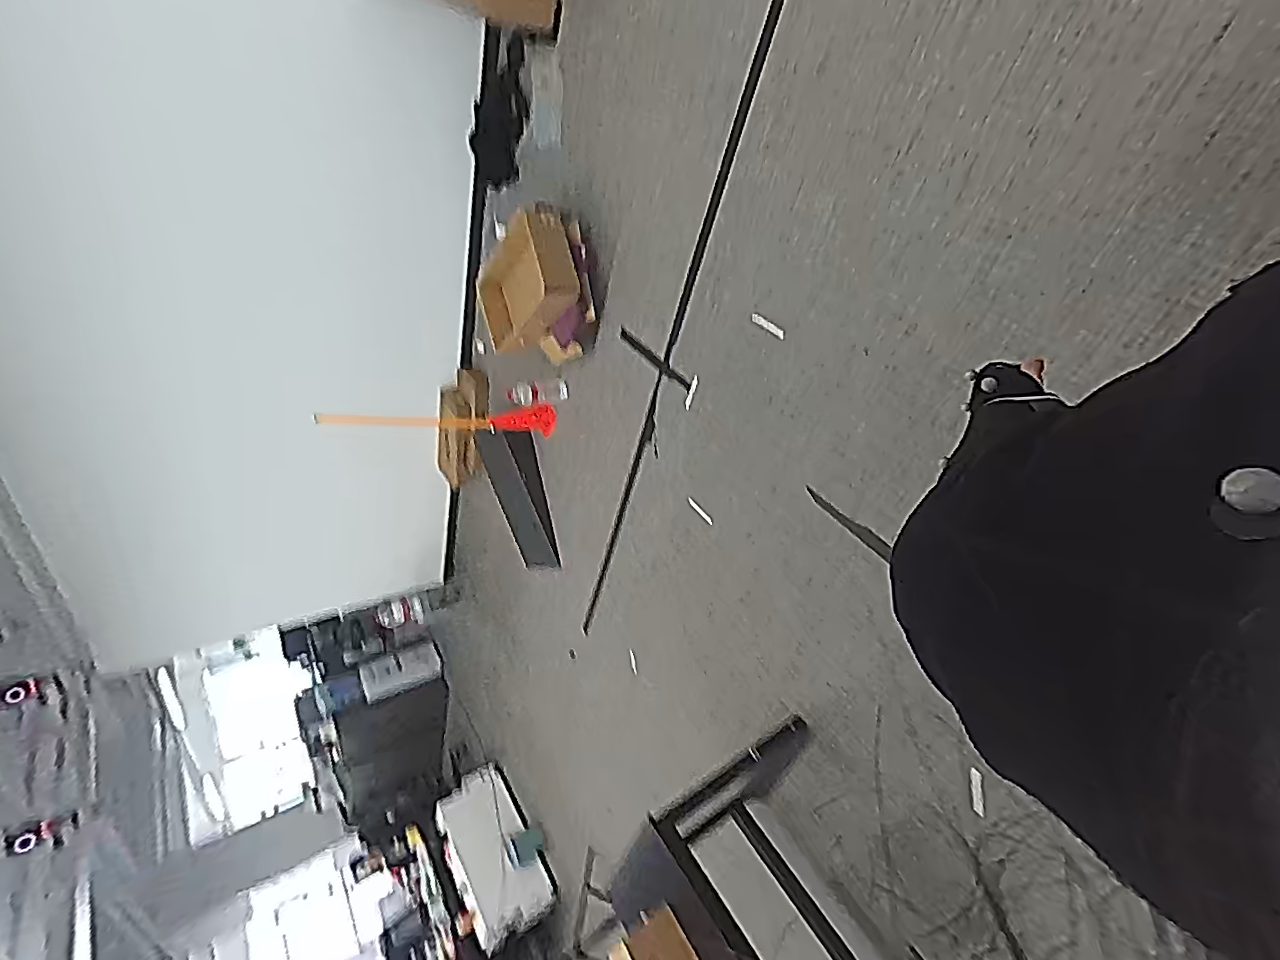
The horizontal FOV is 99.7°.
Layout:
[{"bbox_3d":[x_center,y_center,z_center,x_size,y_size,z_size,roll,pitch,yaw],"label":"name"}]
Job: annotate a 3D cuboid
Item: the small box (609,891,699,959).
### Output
[{"bbox_3d":[0.042,1.346,1.559,0.179,0.176,0.168,49,135,34],"label":"small box"}]
